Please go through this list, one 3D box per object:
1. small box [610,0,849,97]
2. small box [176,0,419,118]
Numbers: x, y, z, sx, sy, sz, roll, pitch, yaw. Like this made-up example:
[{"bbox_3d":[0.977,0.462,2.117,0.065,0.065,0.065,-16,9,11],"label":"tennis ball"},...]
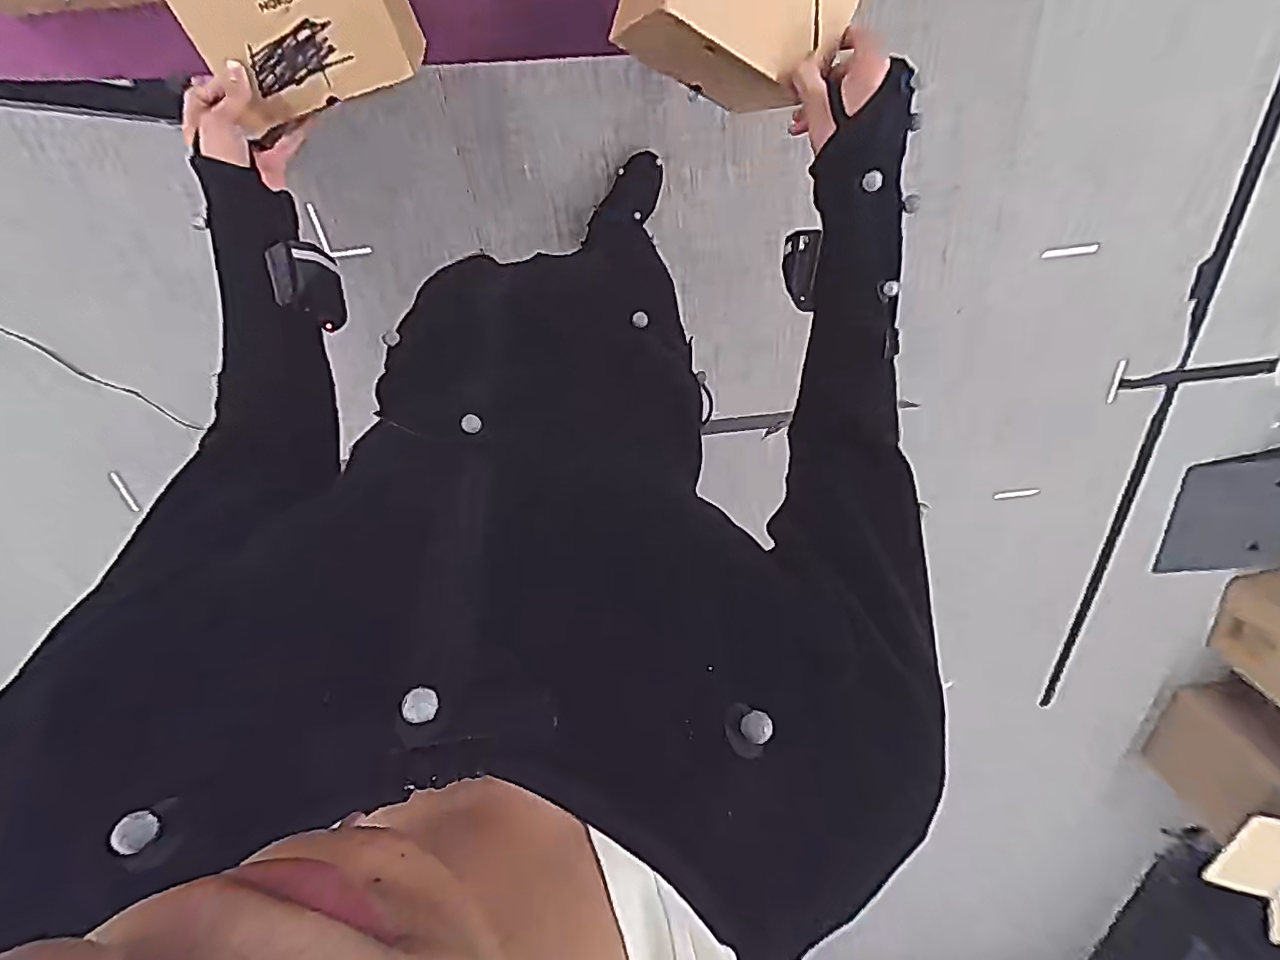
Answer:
[{"bbox_3d":[0.093,-0.482,0.485,0.168,0.176,0.179,12,115,-24],"label":"small box"},{"bbox_3d":[-0.324,-0.478,0.500,0.168,0.176,0.179,-19,137,1],"label":"small box"}]
